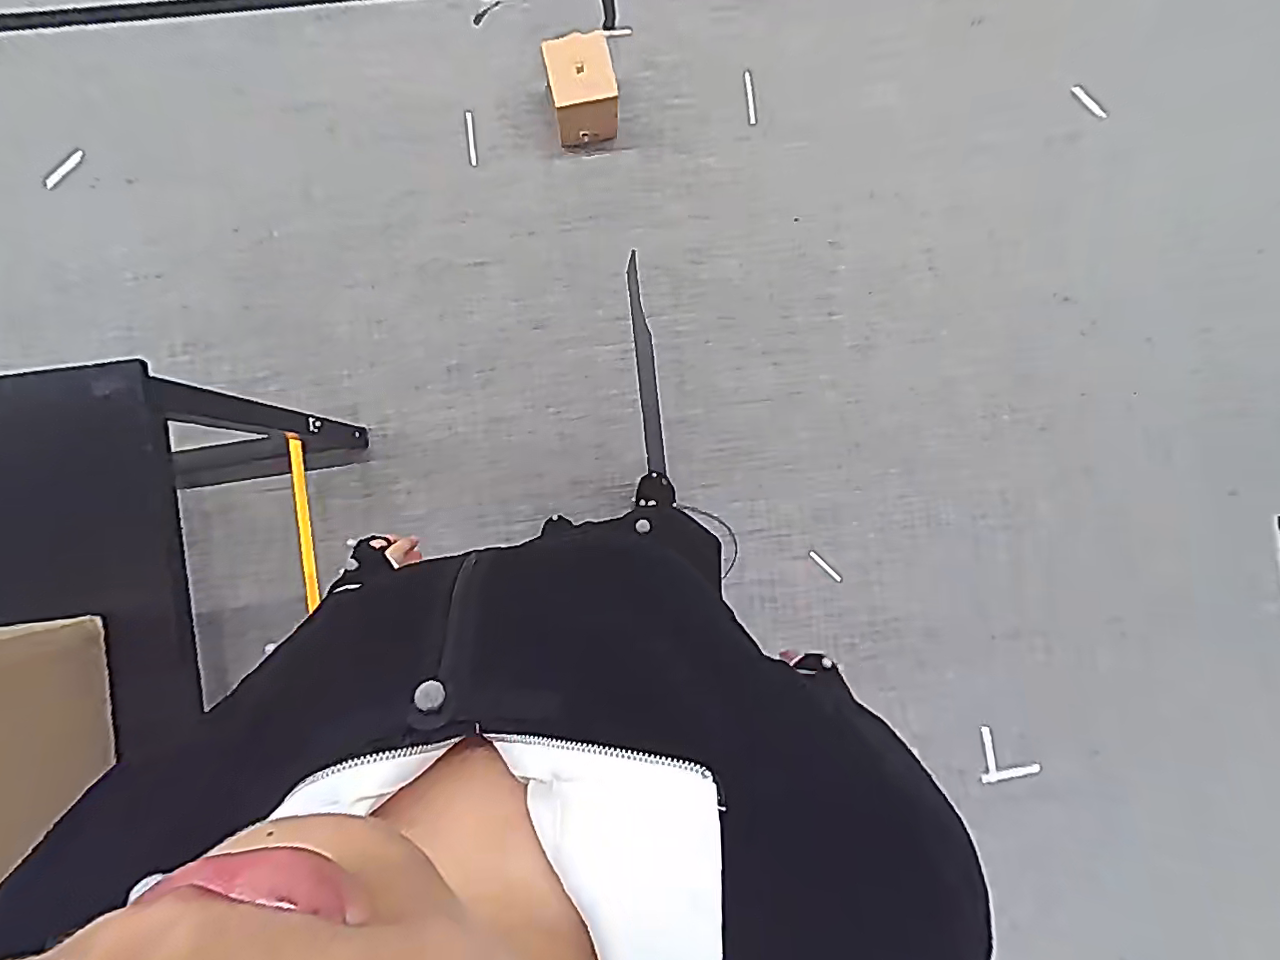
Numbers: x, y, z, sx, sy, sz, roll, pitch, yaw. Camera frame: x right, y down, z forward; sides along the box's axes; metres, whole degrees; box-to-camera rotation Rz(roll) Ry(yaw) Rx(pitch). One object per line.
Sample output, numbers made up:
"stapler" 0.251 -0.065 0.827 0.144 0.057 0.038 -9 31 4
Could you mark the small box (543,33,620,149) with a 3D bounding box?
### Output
"small box" -0.152 -1.031 1.445 0.168 0.176 0.179 -14 91 -2
